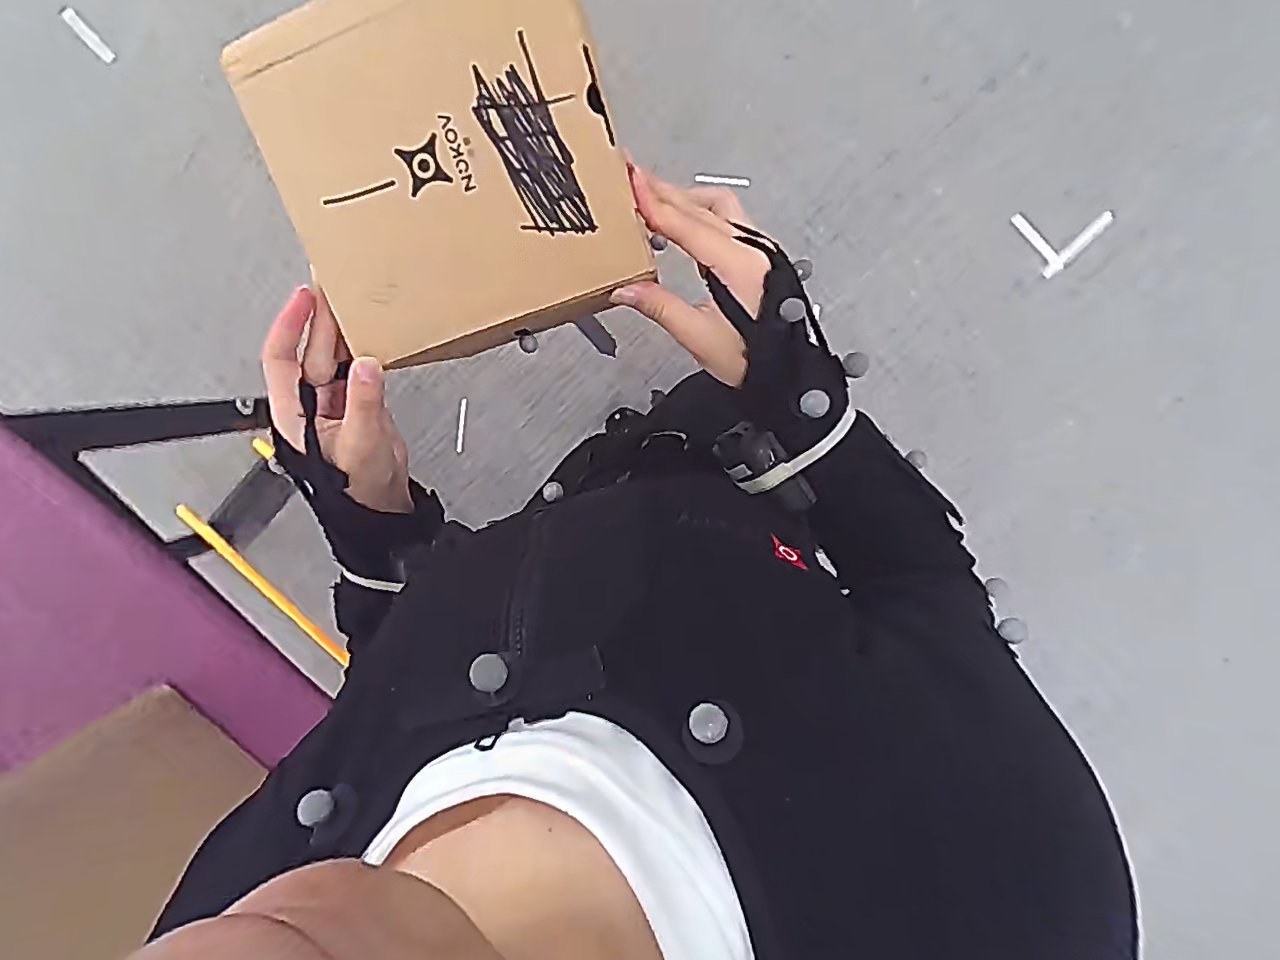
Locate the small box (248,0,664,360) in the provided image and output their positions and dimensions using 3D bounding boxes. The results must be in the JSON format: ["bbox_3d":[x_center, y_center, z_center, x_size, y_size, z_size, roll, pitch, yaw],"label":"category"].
[{"bbox_3d":[-0.088,-0.188,0.356,0.179,0.176,0.168,-15,104,9],"label":"small box"}]
